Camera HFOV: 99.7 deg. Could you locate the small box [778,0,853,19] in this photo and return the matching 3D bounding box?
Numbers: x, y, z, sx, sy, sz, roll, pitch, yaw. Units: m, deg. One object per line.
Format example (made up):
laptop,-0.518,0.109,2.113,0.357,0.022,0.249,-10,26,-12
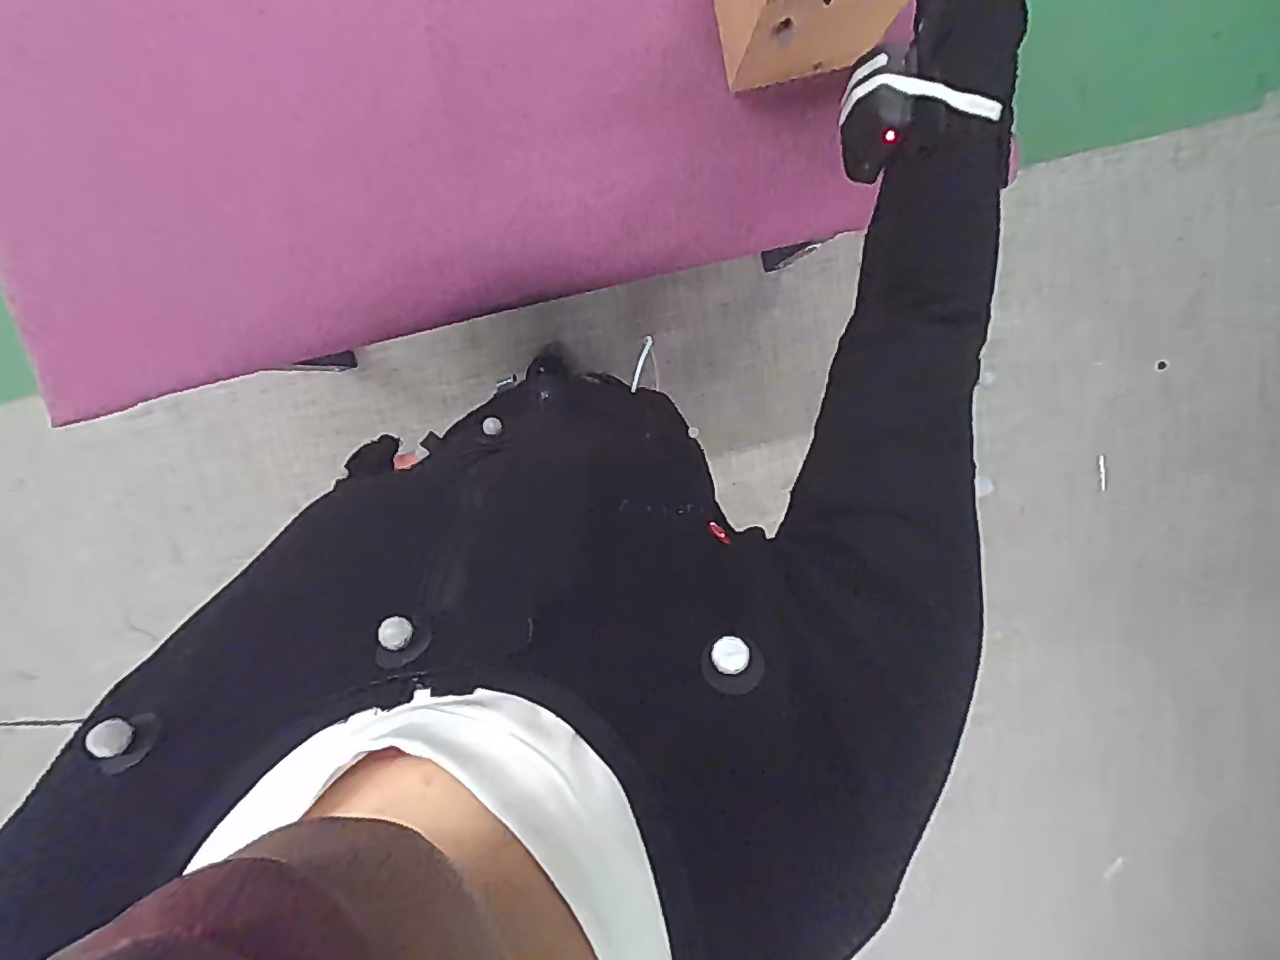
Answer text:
small box,0.182,-0.517,0.408,0.168,0.176,0.179,-18,99,2
